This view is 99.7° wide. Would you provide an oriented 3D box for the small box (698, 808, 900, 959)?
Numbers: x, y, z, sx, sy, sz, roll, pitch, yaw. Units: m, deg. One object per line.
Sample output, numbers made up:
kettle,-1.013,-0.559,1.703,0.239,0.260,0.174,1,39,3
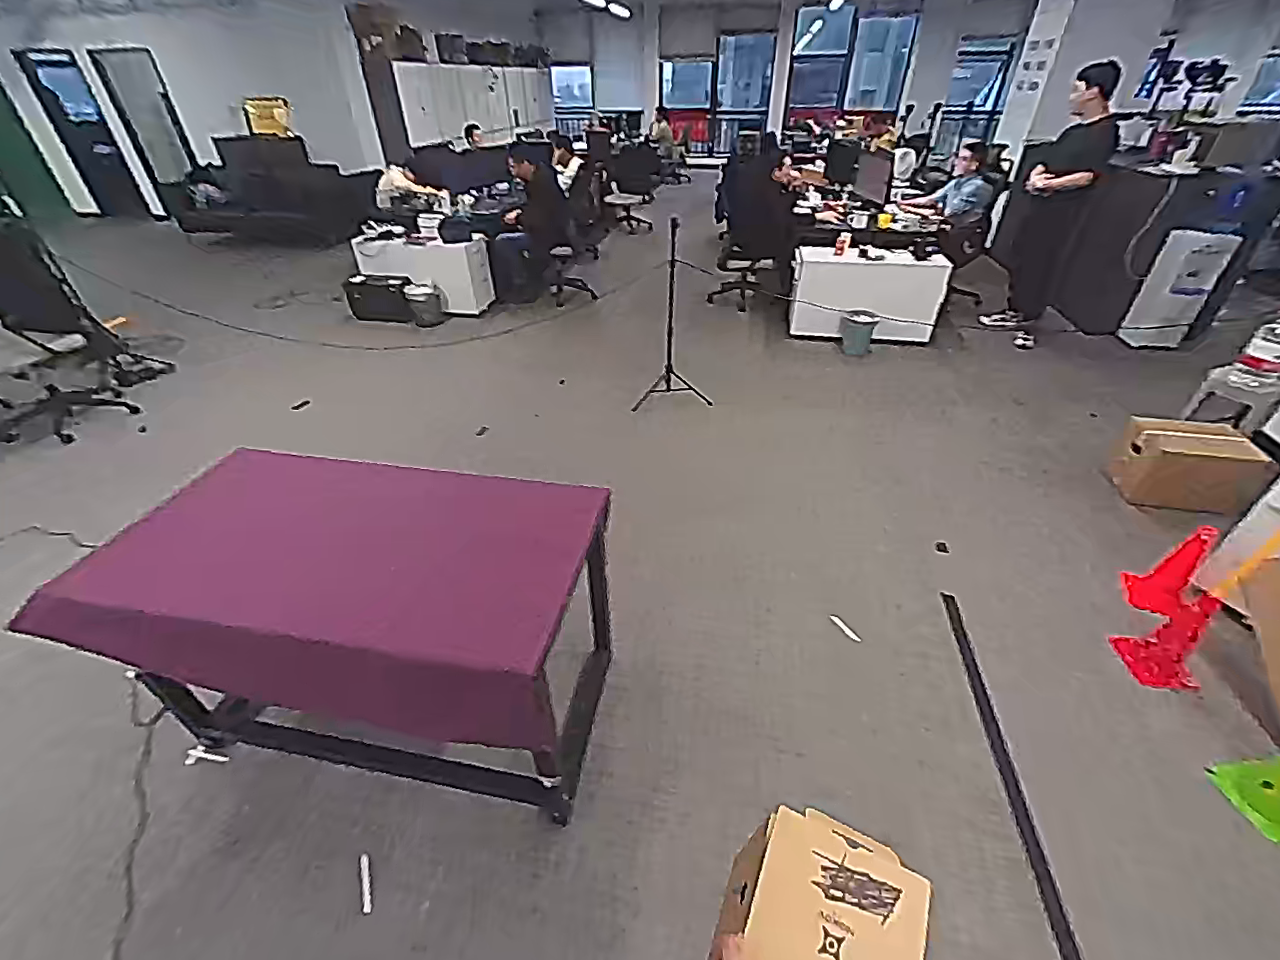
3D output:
small box,0.168,0.518,0.601,0.168,0.176,0.179,21,41,14
